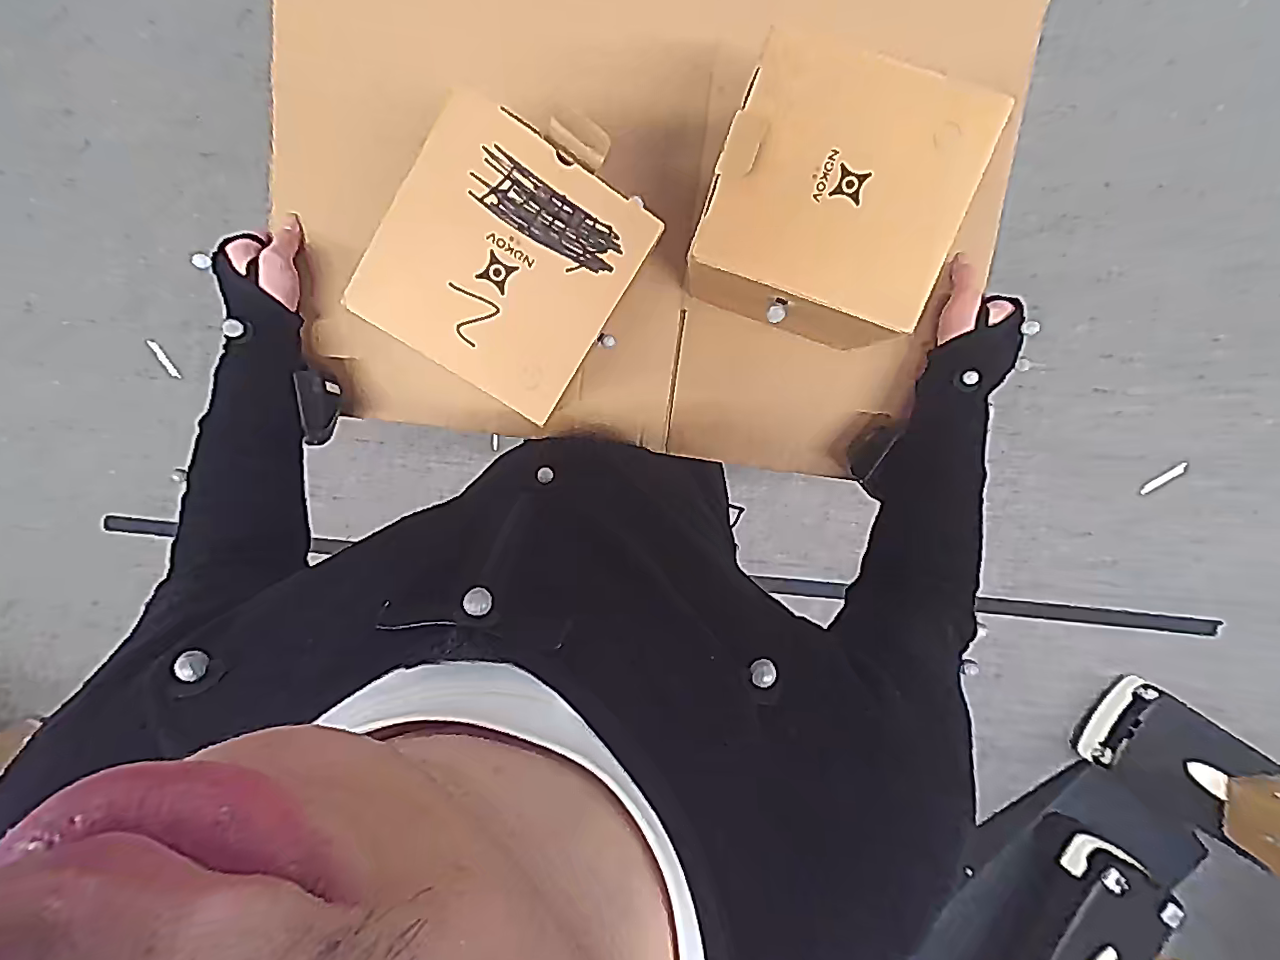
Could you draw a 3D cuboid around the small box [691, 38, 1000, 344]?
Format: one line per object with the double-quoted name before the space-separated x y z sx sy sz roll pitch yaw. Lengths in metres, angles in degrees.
"small box" 0.156 -0.226 0.477 0.179 0.176 0.168 21 101 4
